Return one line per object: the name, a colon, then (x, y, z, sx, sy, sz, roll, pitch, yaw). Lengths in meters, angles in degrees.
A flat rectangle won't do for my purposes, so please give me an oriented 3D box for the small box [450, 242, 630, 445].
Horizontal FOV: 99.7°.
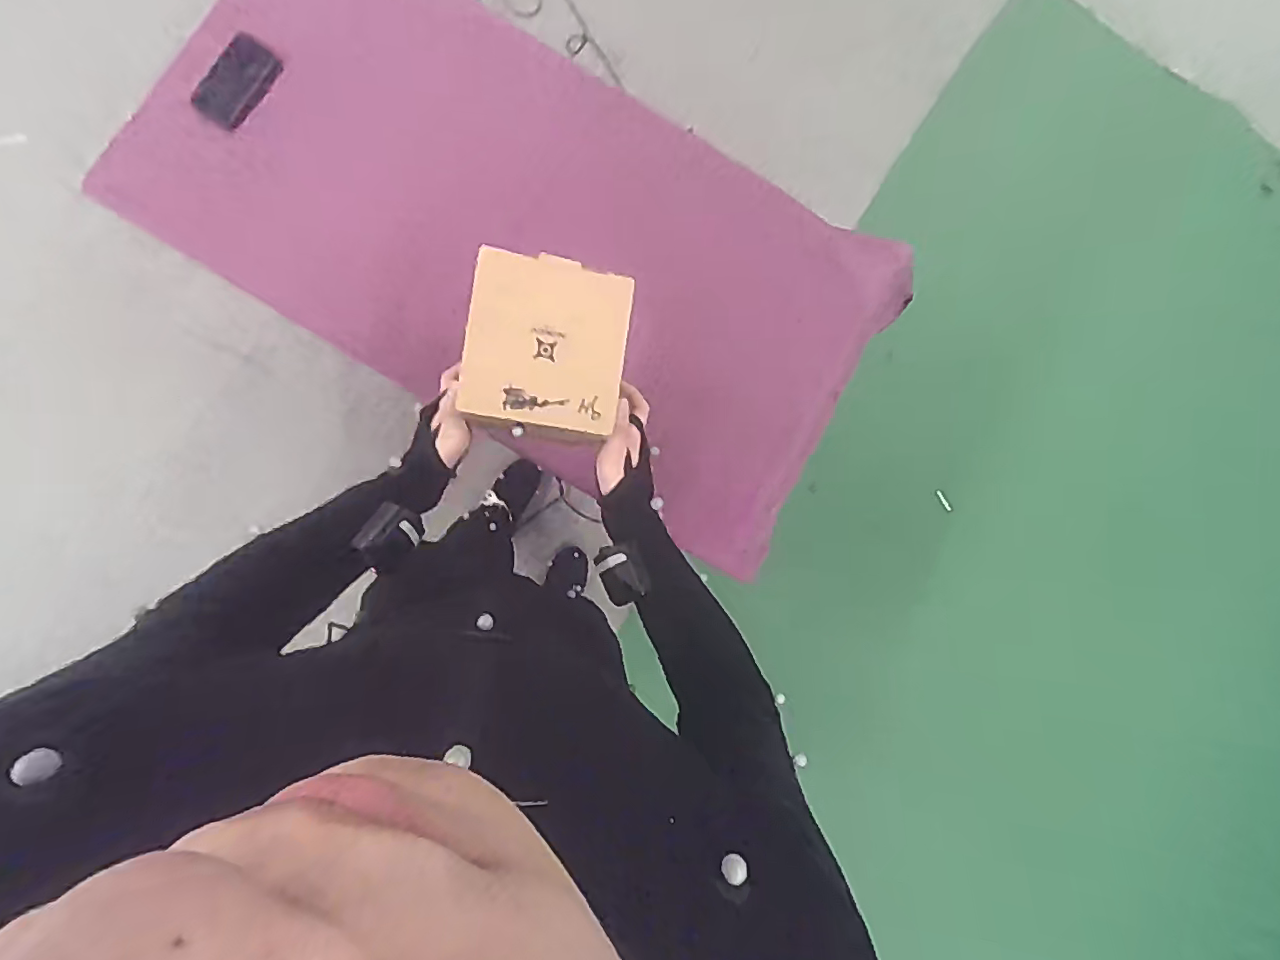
small box: (-0.115, -0.145, 0.640, 0.168, 0.176, 0.179, 8, 87, -9)
